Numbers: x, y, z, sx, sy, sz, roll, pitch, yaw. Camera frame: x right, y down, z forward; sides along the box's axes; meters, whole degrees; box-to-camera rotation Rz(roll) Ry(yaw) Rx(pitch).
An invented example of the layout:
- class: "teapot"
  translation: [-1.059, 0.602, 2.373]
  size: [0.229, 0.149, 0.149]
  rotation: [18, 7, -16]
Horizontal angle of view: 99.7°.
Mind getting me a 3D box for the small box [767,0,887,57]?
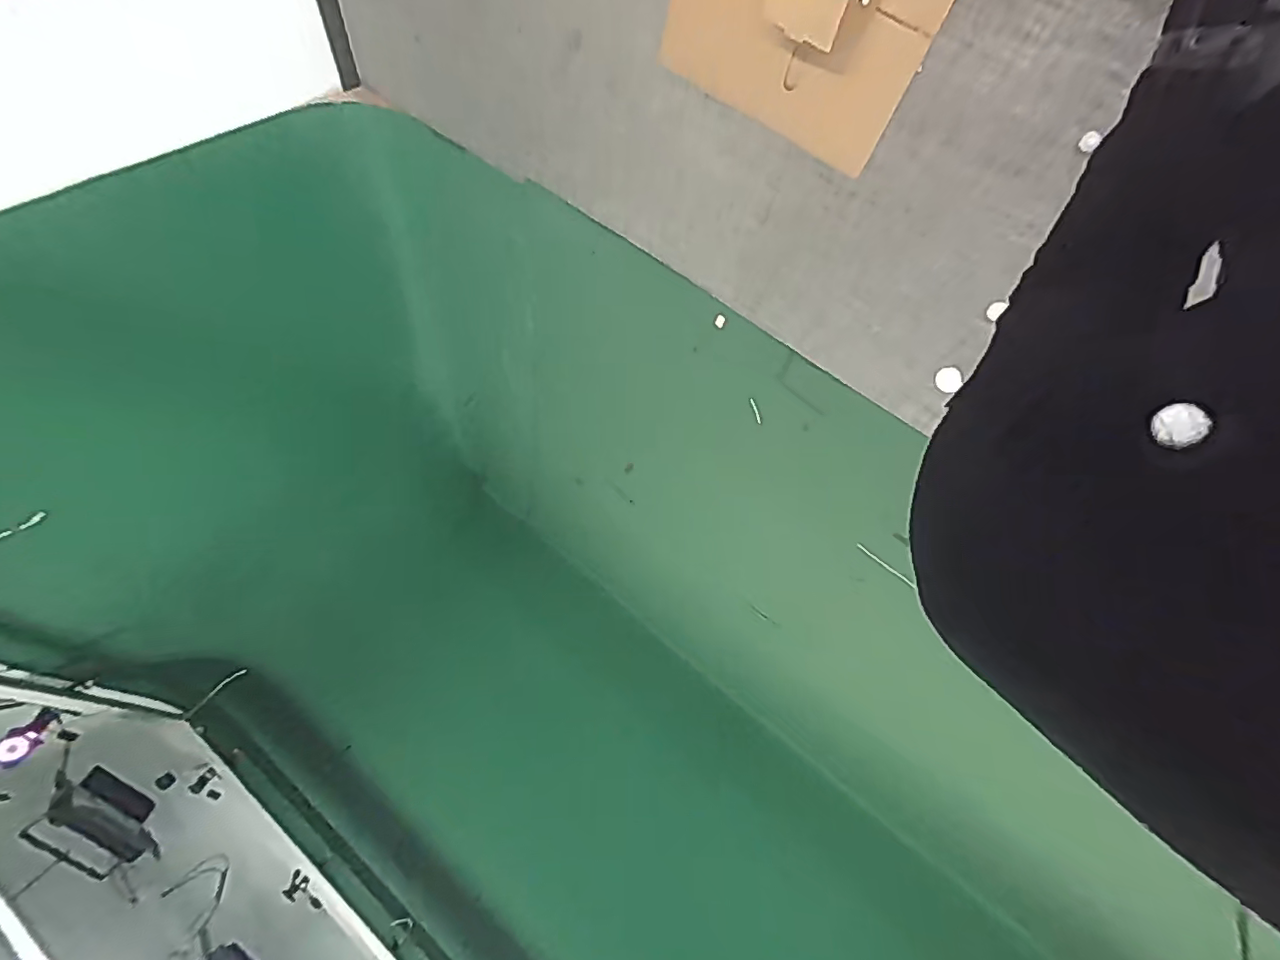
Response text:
- class: "small box"
  translation: [0.369, -0.942, 1.007]
  size: [0.168, 0.176, 0.179]
  rotation: [38, 153, 16]
